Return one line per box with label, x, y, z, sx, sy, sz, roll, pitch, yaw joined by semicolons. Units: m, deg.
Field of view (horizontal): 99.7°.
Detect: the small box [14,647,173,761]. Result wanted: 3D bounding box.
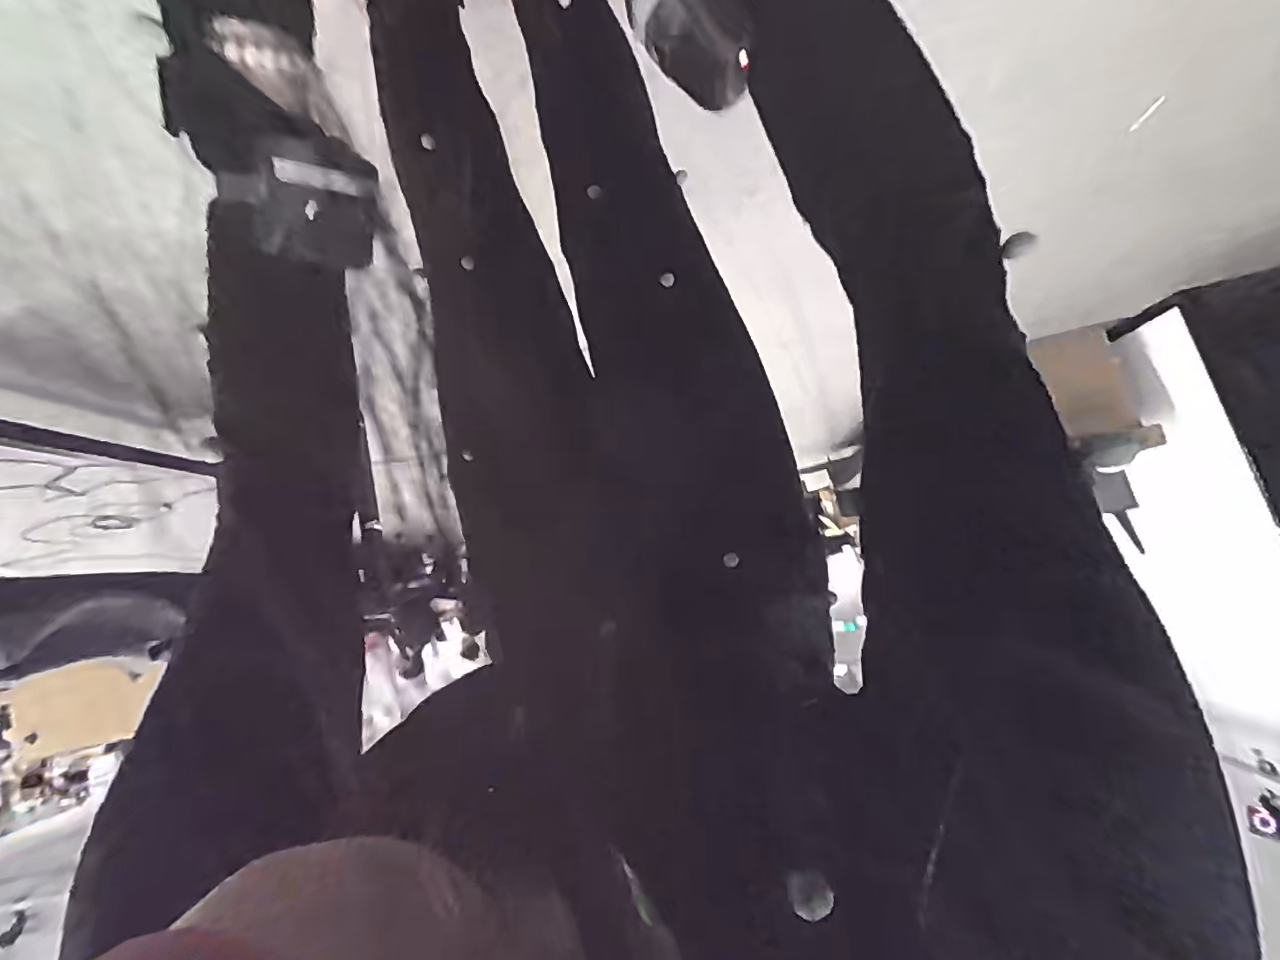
small box;-1.133;0.457;1.129;0.179;0.176;0.168;-14;171;2
